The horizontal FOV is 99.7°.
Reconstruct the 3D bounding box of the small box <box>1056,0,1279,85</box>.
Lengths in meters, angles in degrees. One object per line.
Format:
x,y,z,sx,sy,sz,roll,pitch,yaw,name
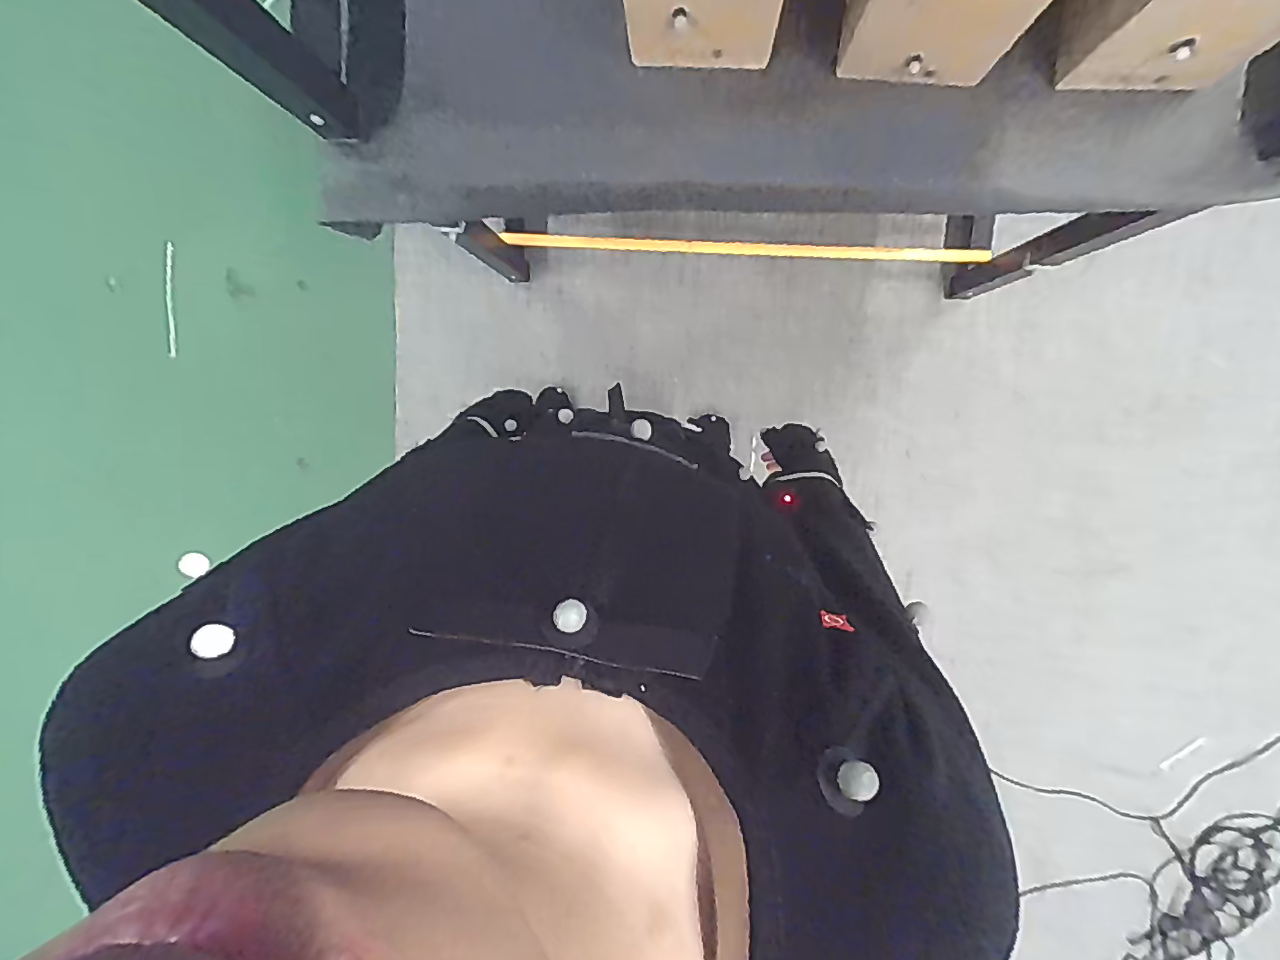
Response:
0.561,-0.532,0.540,0.168,0.176,0.179,3,97,4,small box

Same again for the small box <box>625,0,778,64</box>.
0.072,-0.584,0.575,0.168,0.176,0.179,5,98,4,small box
